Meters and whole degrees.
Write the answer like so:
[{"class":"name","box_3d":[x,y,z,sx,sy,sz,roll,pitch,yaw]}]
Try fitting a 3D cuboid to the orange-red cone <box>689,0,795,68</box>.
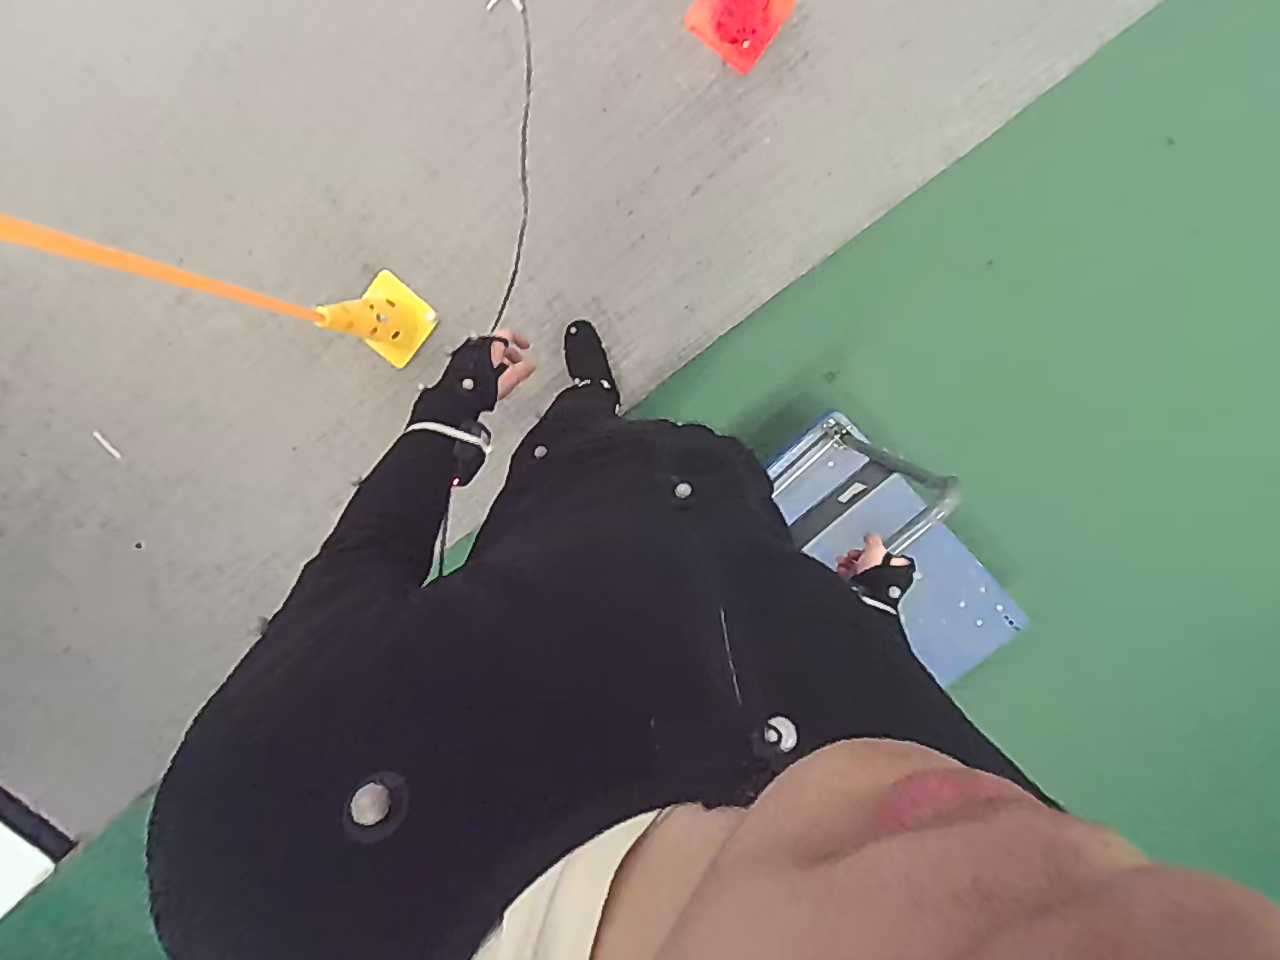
[{"class":"orange-red cone","box_3d":[0.243,-1.093,1.135,0.198,0.360,0.199,37,102,-9]}]
